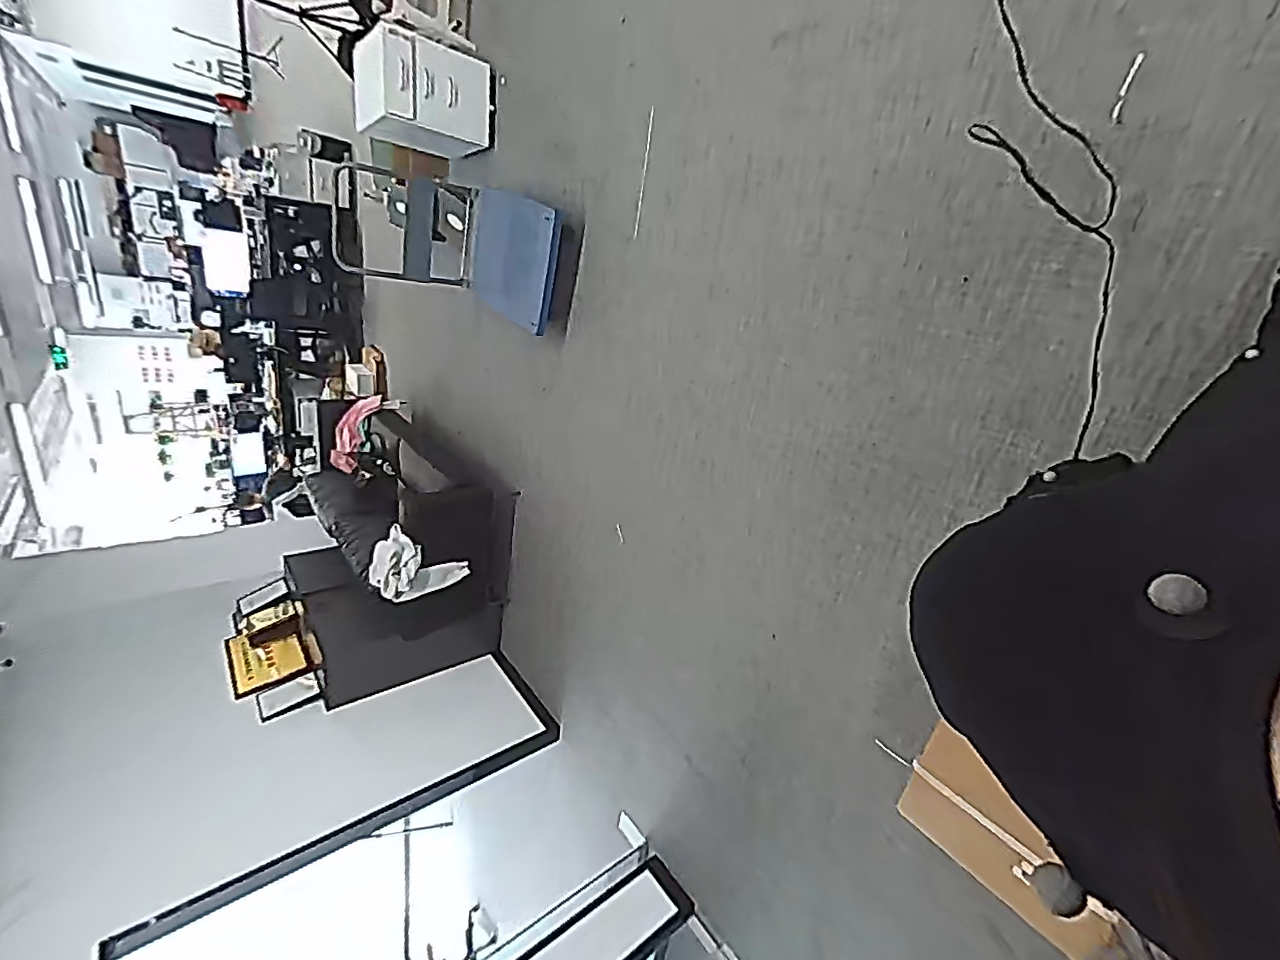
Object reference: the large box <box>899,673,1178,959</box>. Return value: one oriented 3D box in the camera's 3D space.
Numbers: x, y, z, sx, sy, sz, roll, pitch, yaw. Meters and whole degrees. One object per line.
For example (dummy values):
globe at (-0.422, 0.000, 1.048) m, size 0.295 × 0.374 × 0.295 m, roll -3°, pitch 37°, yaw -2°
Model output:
large box at (0.903, 0.732, 1.256) m, size 0.408 × 0.320 × 0.320 m, roll 31°, pitch 120°, yaw 42°
